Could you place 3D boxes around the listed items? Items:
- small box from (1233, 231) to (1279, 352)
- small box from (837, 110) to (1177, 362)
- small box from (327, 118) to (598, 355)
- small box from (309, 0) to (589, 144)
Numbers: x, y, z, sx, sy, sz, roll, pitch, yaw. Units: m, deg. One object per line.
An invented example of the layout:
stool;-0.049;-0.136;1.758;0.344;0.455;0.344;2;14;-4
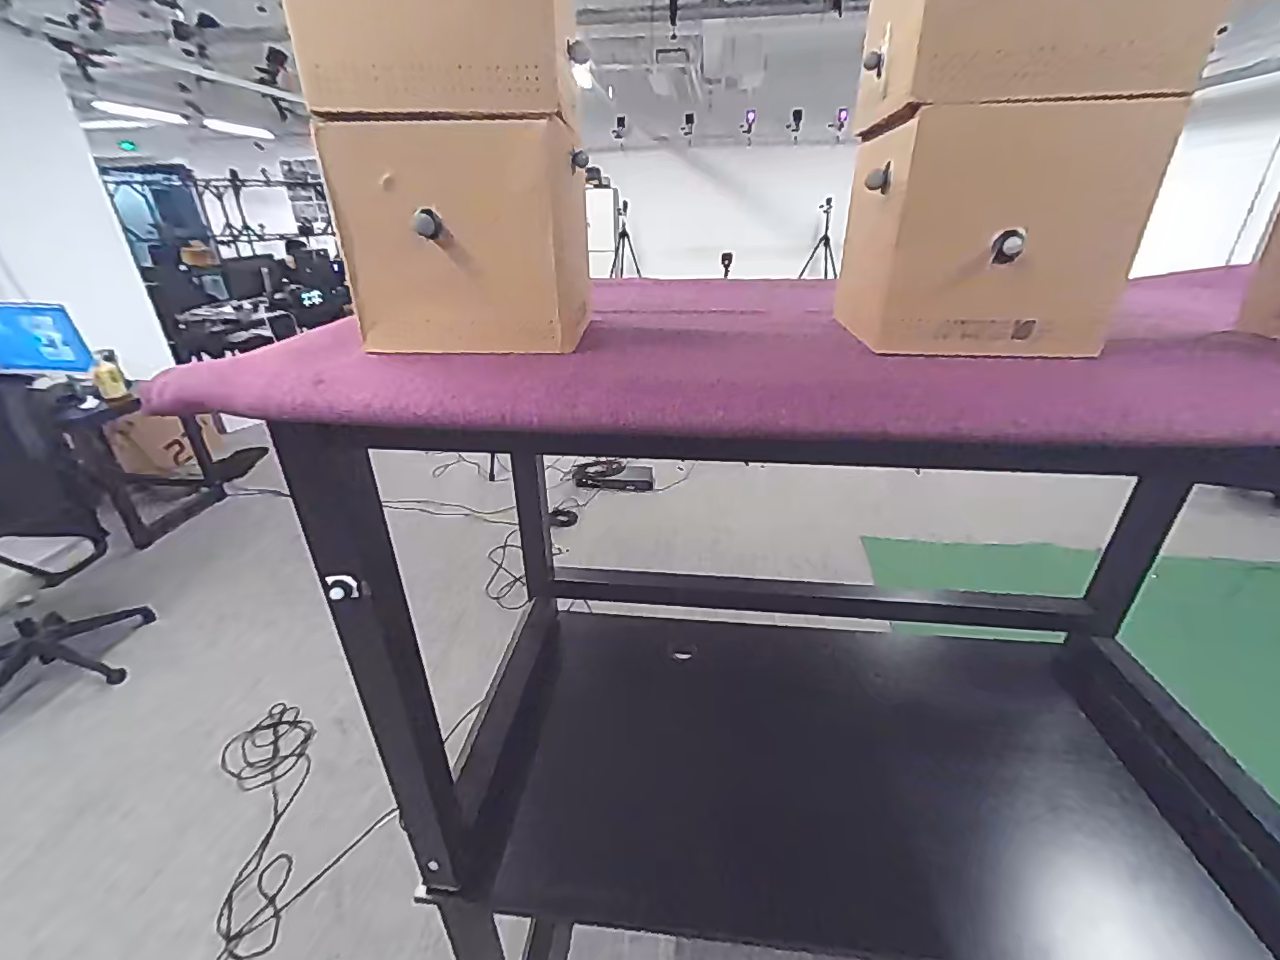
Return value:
small box;0.622;-0.171;0.396;0.179;0.176;0.168;3;24;11
small box;0.281;-0.204;0.468;0.168;0.176;0.179;4;26;6
small box;-0.135;-0.214;0.490;0.179;0.176;0.168;0;28;1
small box;-0.135;-0.360;0.414;0.179;0.176;0.168;1;27;-1
